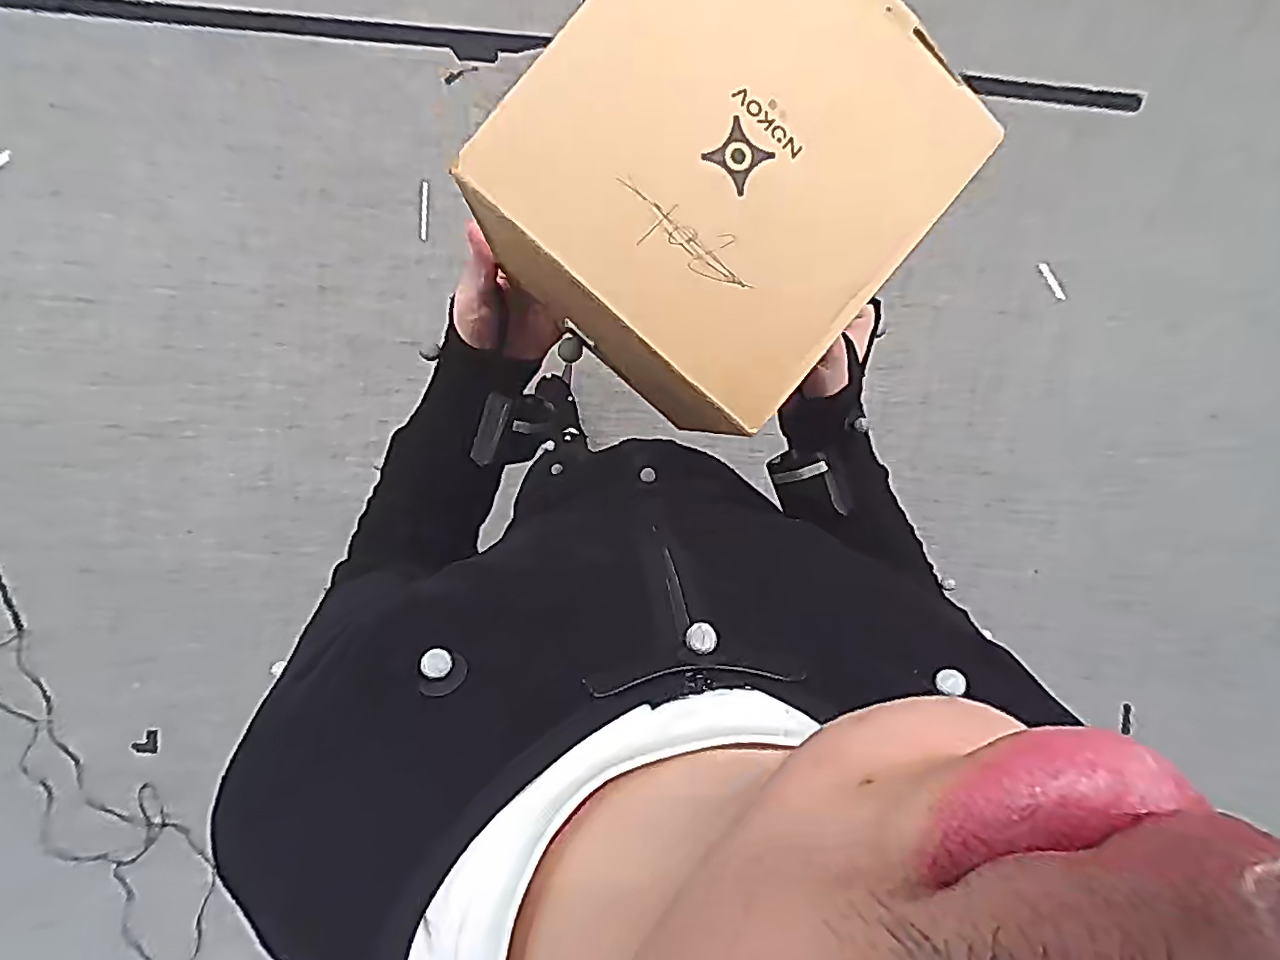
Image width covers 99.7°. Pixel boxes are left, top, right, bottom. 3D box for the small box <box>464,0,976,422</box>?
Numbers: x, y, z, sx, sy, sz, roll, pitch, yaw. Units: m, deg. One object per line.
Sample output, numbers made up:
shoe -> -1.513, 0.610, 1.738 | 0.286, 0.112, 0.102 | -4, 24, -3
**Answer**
small box -> 0.031, -0.152, 0.314 | 0.168, 0.176, 0.179 | 40, 92, -9
